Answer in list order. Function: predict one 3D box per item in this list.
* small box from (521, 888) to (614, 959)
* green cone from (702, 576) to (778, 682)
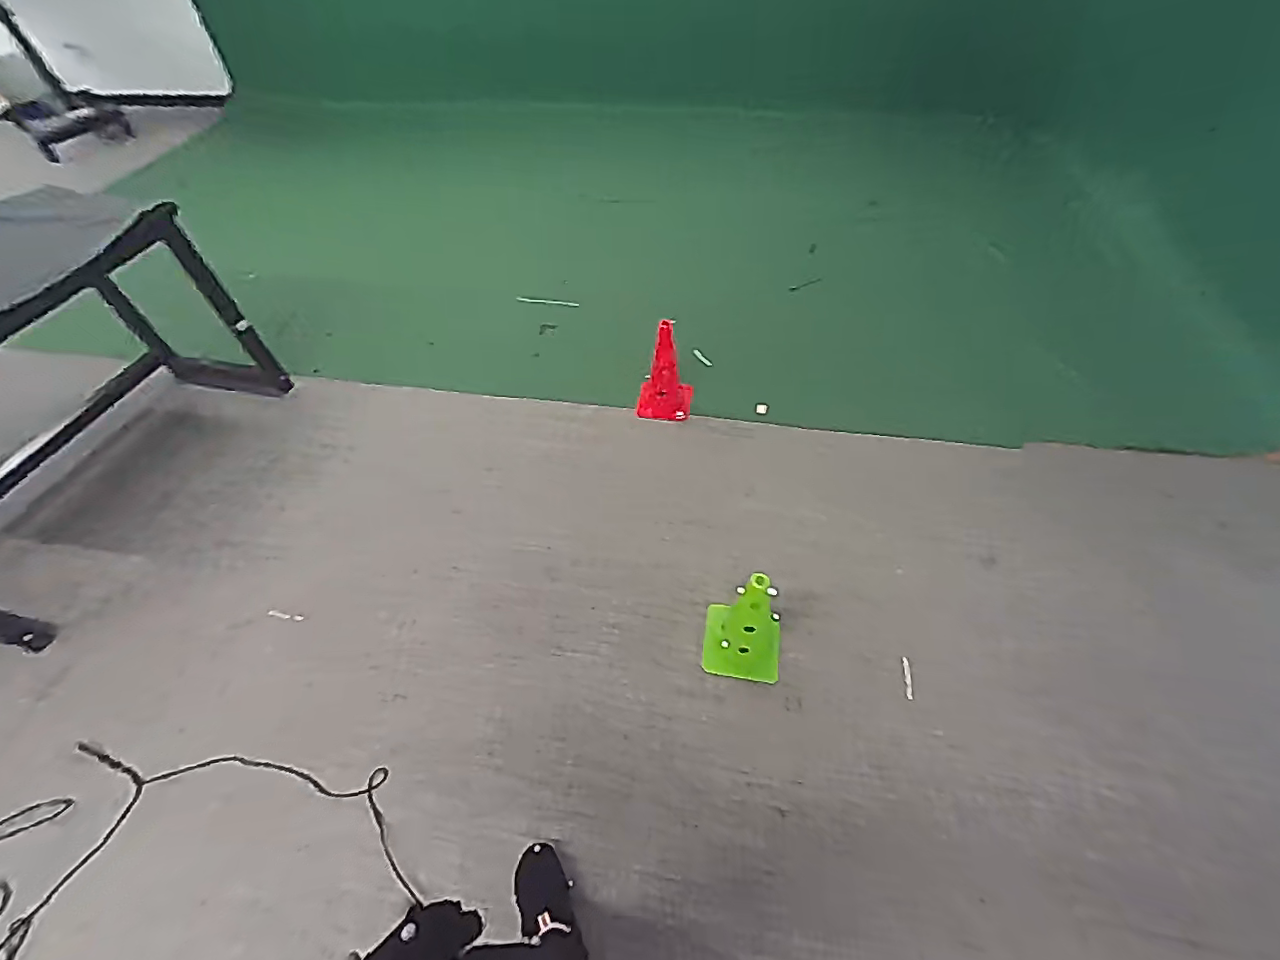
[{"bbox_3d":[-0.146,0.925,1.068,0.168,0.176,0.179,6,55,-11],"label":"small box"},{"bbox_3d":[0.268,0.333,1.335,0.200,0.368,0.202,6,53,7],"label":"green cone"}]
